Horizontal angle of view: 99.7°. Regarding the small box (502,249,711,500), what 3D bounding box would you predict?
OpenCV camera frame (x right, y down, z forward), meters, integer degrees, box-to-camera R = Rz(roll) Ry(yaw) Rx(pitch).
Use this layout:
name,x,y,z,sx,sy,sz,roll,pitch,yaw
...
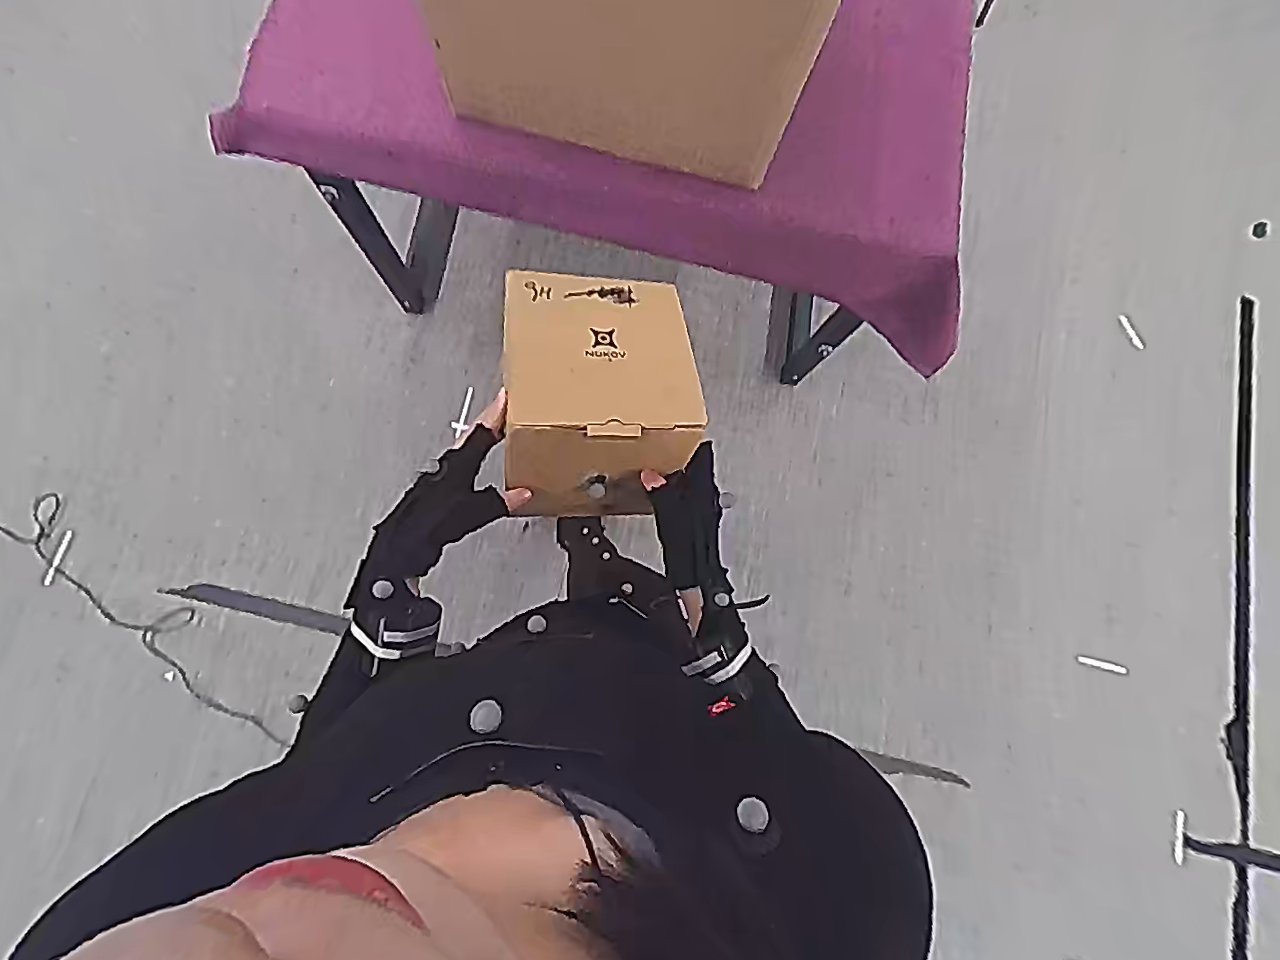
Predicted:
name,x,y,z,sx,sy,sz,roll,pitch,yaw
small box,-0.046,-0.088,0.523,0.168,0.176,0.179,0,62,-15
